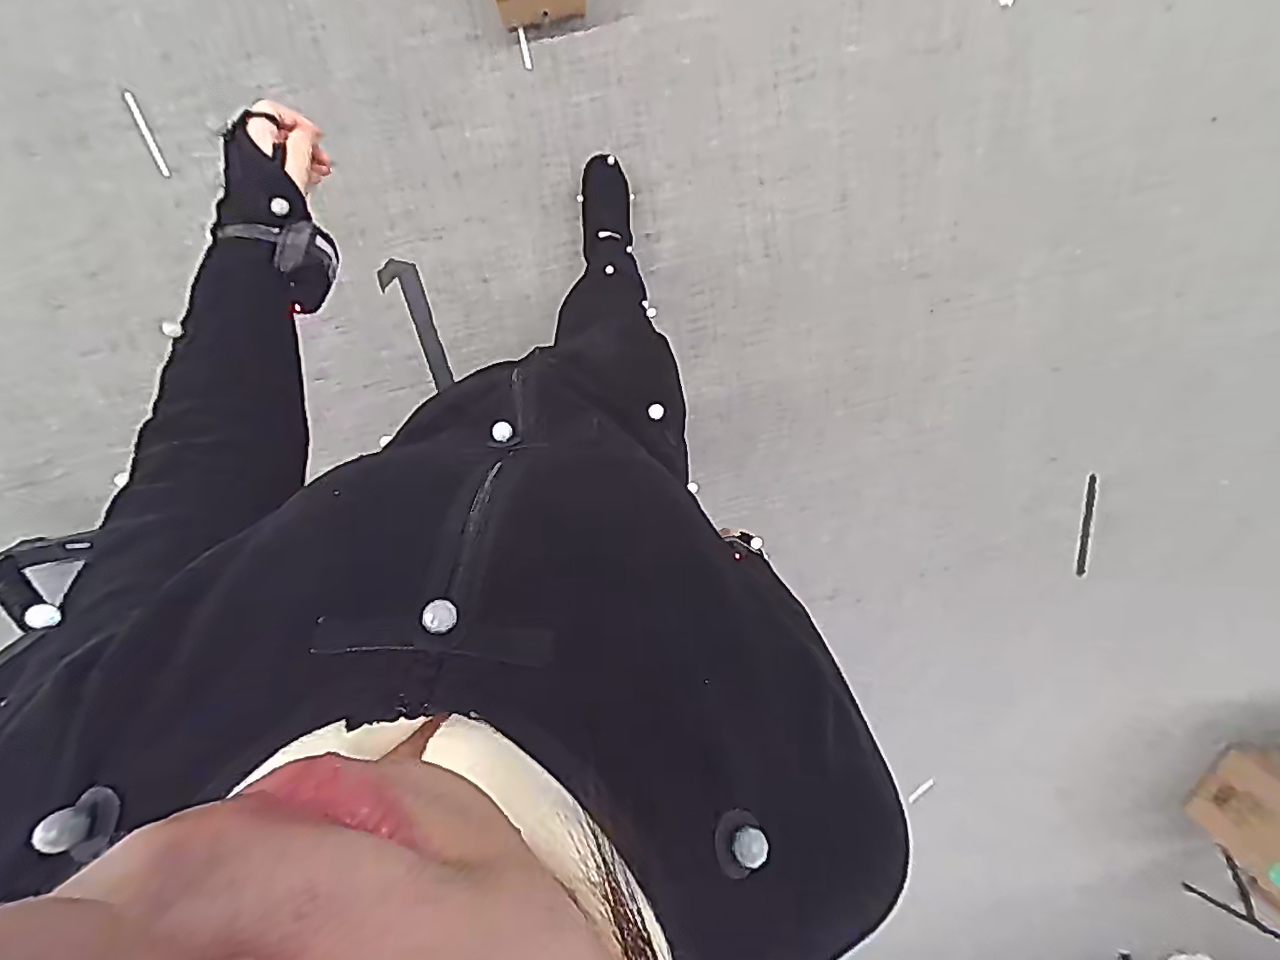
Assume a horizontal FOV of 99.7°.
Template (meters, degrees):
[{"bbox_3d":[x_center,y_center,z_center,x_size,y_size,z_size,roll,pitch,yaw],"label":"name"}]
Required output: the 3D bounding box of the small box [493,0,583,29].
[{"bbox_3d":[-0.201,-0.974,0.996,0.179,0.176,0.168,-13,114,-1],"label":"small box"}]
